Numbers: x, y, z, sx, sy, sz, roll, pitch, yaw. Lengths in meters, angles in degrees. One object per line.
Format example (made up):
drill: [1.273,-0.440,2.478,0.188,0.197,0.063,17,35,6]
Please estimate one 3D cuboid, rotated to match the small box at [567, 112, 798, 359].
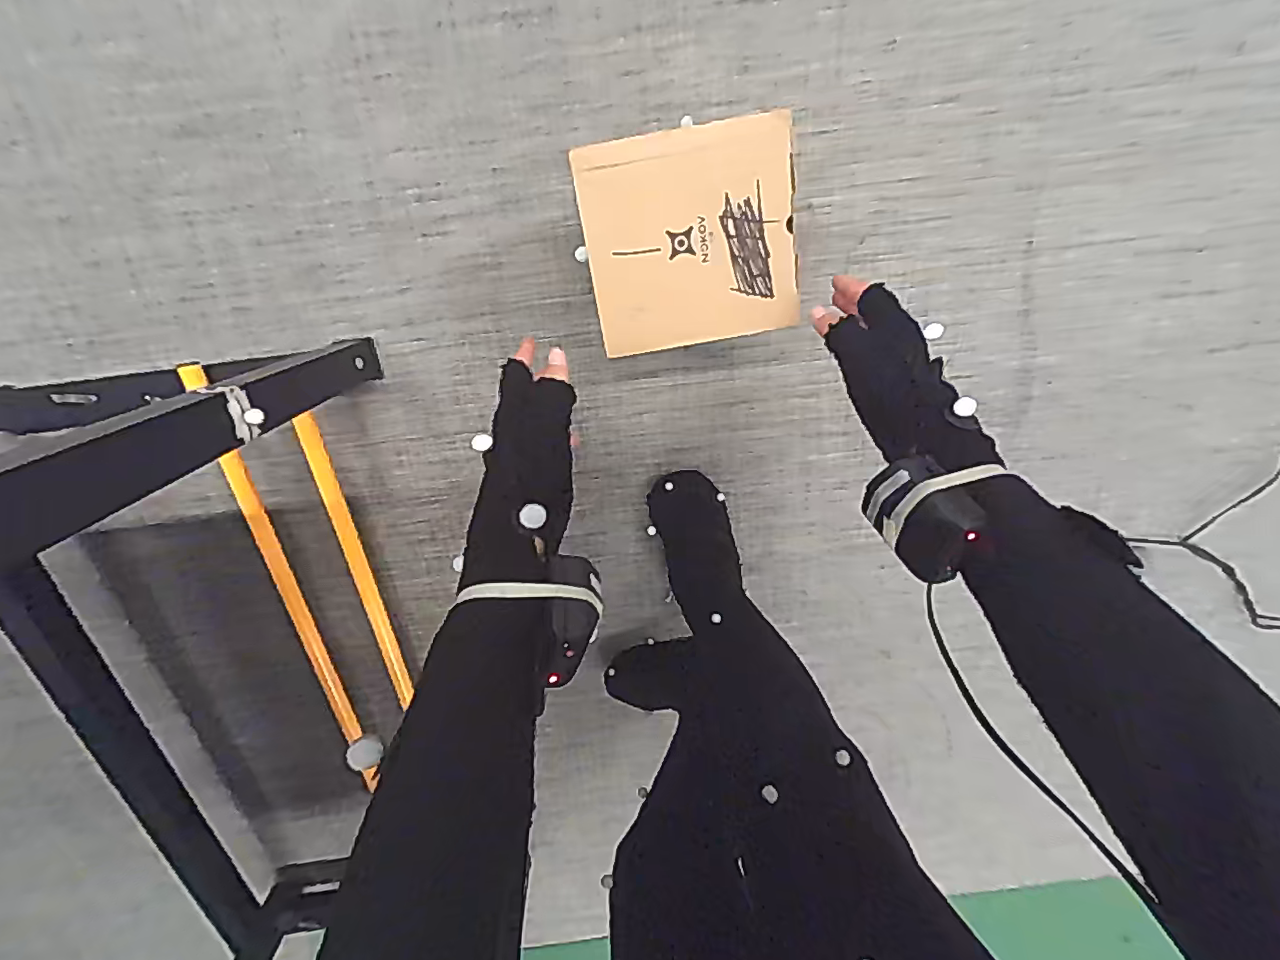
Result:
small box: [0.037,-0.225,0.514,0.179,0.176,0.168,-9,113,3]
